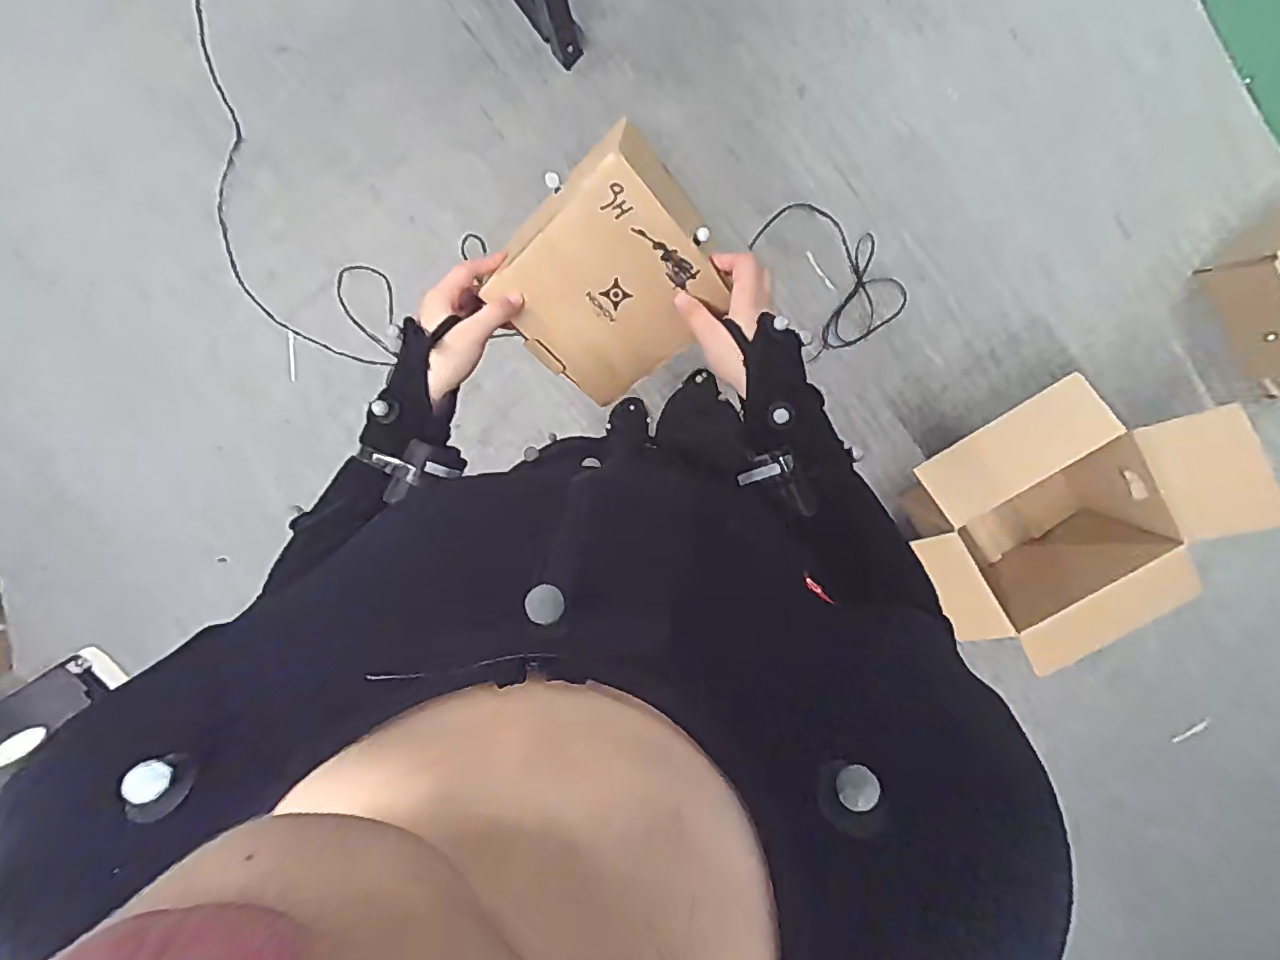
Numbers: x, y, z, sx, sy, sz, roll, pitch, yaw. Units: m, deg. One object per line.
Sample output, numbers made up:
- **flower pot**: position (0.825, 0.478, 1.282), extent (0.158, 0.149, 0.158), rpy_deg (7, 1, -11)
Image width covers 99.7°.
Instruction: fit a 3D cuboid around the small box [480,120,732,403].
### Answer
- **small box**: position (-0.027, -0.219, 0.548), extent (0.179, 0.176, 0.168), rpy_deg (-33, 124, 28)
